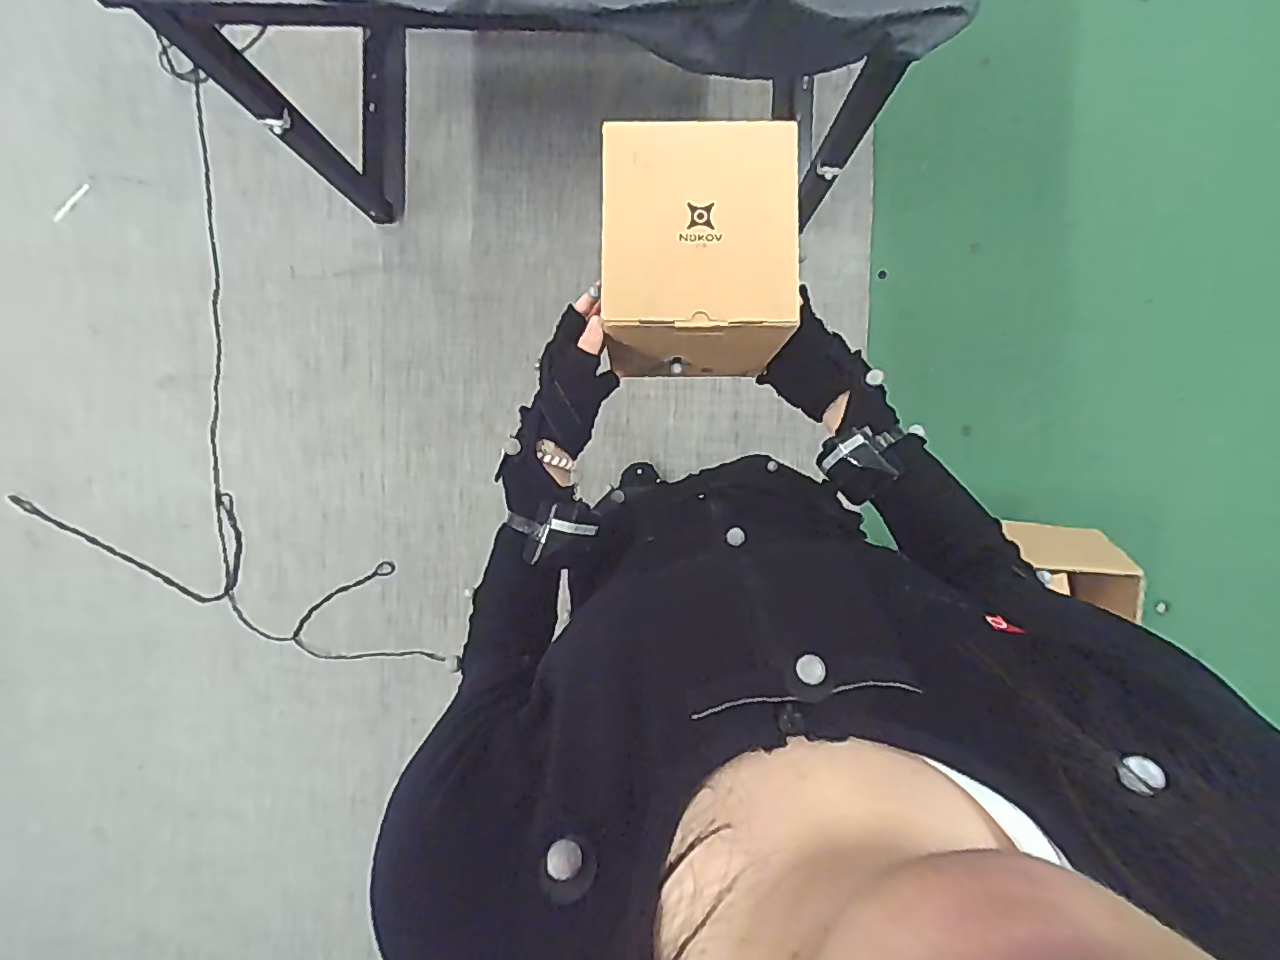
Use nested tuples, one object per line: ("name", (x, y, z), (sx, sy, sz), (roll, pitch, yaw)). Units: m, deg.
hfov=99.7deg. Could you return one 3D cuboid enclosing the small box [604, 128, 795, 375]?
("small box", (0.051, -0.214, 0.544), (0.168, 0.176, 0.179), (0, 88, 0))
